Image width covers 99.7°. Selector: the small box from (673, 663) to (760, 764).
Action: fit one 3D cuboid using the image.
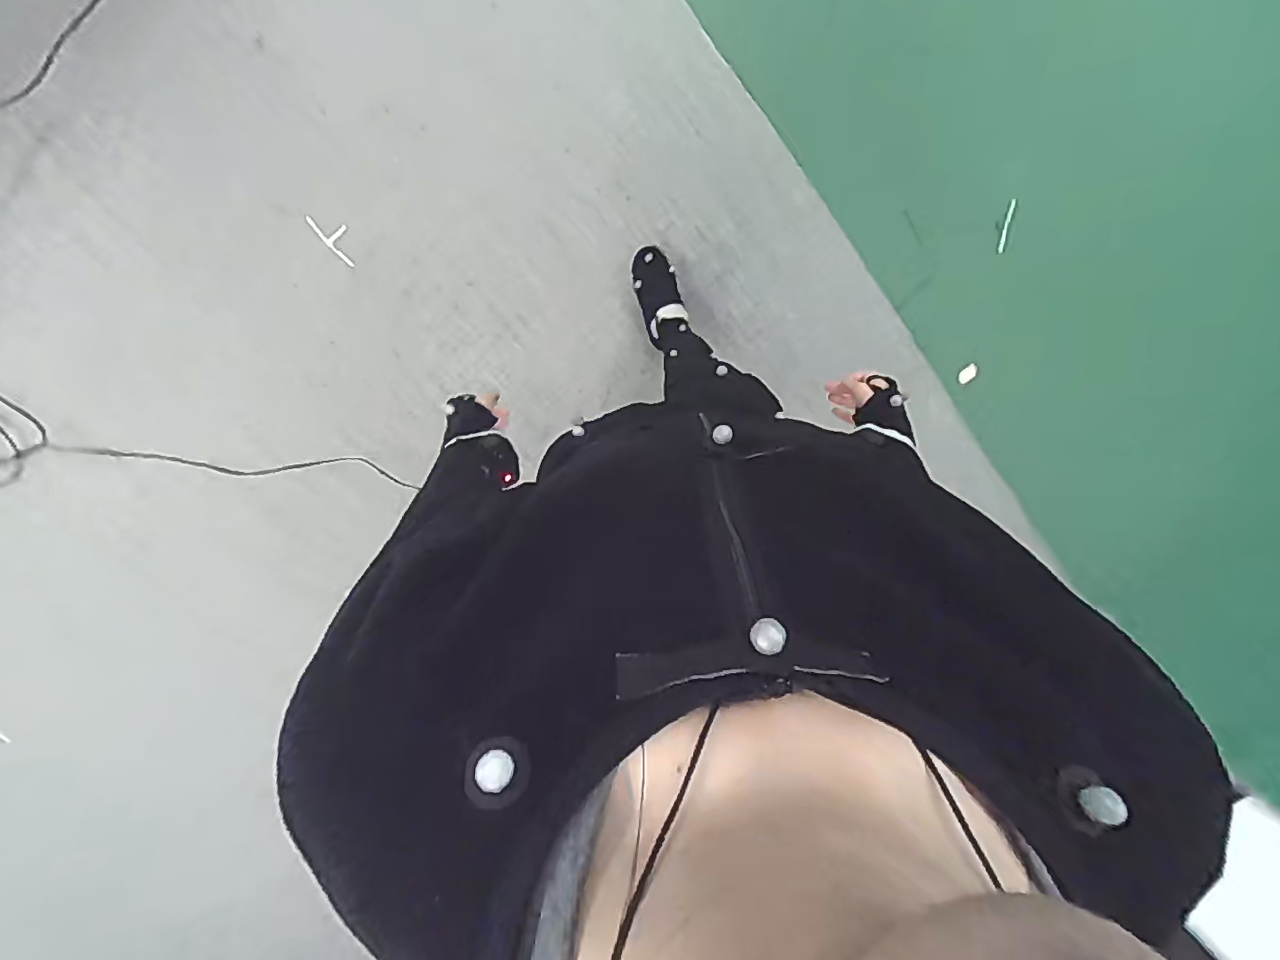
[{"bbox_3d":[0.213,0.662,1.552,0.179,0.176,0.168,-29,102,3],"label":"small box"}]
